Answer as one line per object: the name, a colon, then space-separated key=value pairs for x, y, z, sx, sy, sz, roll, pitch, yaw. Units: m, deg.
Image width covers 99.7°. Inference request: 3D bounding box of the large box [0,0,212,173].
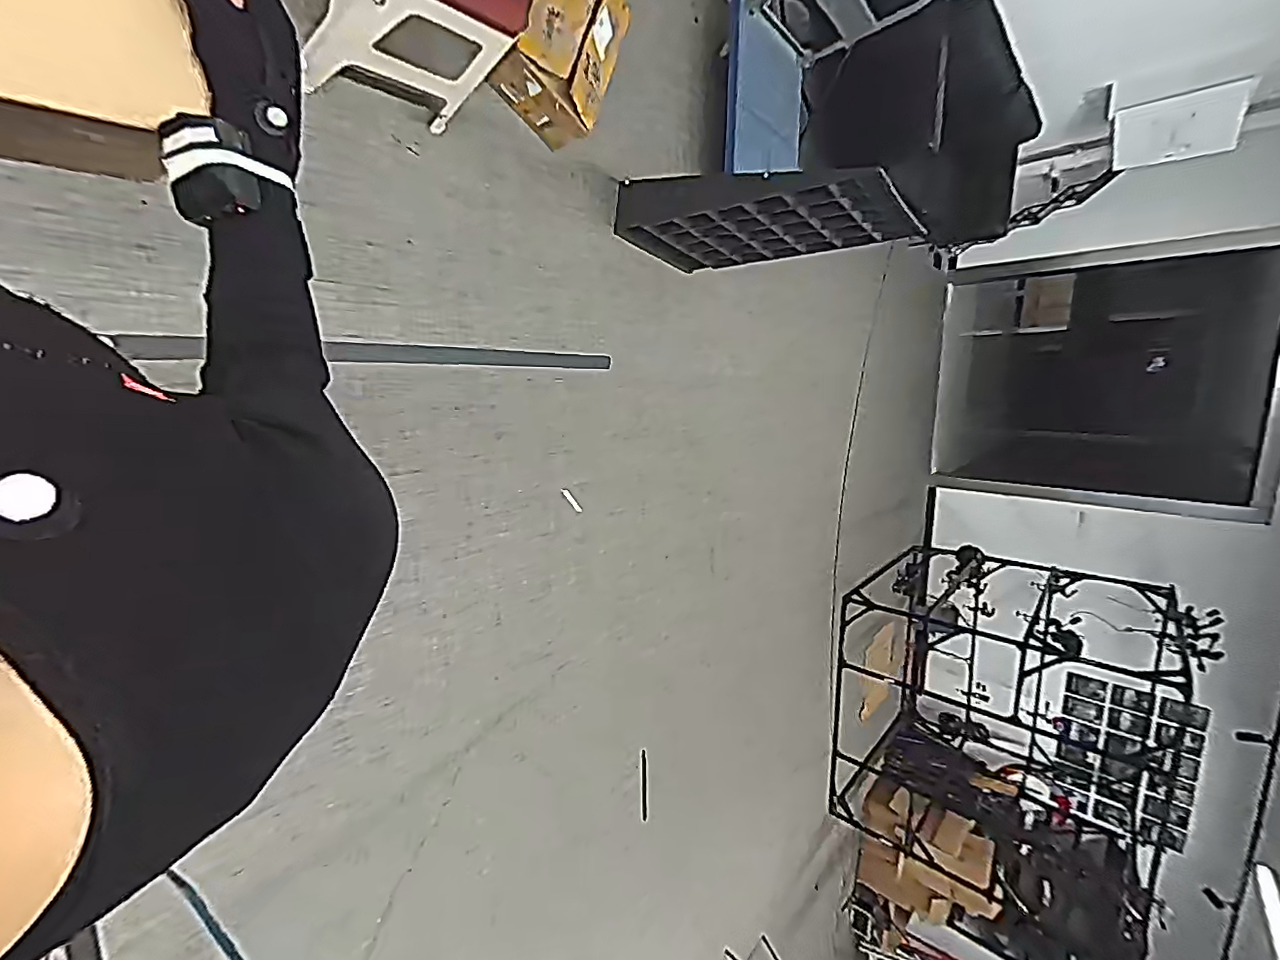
large box: x=-0.576 y=-0.418 z=0.336 sx=0.408 sy=0.320 sz=0.320 roll=-16 pitch=117 yaw=-47
